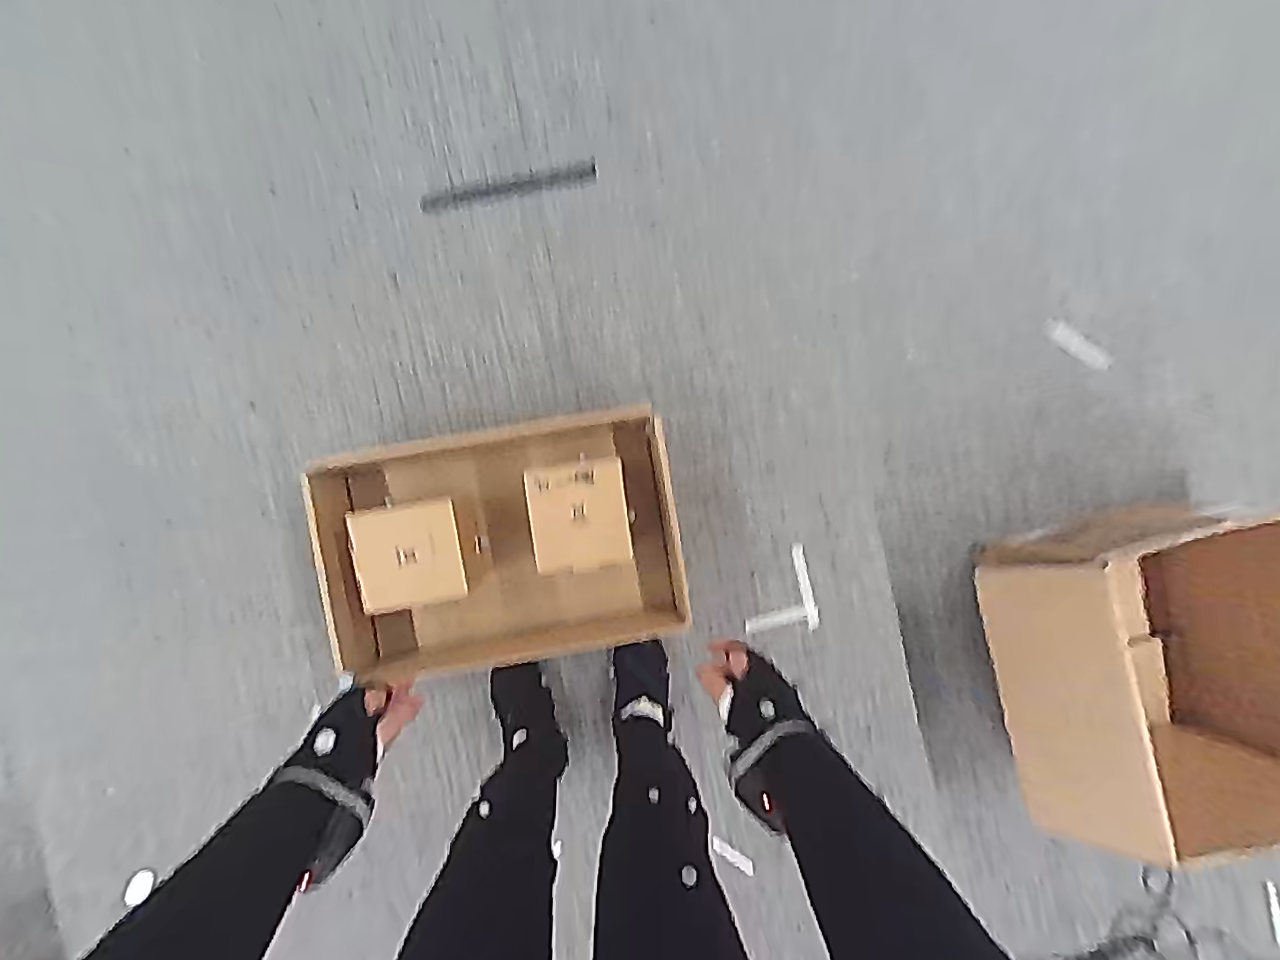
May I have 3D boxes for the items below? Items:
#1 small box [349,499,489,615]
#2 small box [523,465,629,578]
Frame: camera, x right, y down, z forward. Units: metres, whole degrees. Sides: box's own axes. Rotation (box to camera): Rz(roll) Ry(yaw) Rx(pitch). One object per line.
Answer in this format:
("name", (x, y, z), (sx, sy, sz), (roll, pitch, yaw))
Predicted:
("small box", (-0.391, 0.132, 0.984), (0.179, 0.176, 0.168), (-11, 92, -4))
("small box", (-0.109, 0.068, 0.998), (0.168, 0.176, 0.179), (-8, 92, -2))
